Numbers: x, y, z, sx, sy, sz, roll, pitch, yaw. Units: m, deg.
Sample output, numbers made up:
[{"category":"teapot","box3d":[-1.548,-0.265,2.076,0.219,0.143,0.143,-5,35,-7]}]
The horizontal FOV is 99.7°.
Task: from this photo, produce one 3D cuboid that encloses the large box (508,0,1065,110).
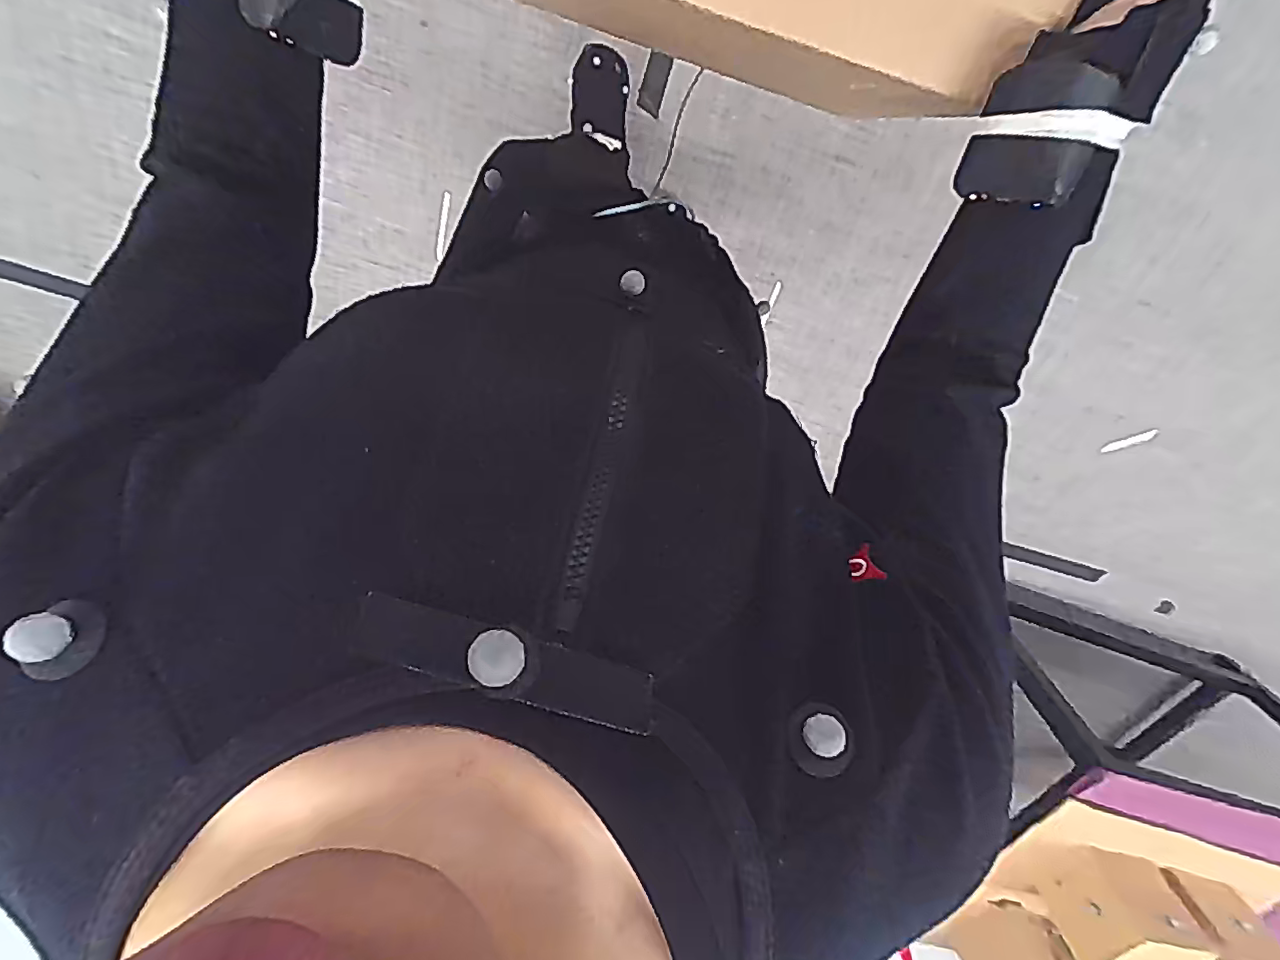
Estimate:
[{"category":"large box","box3d":[0.076,-0.478,0.351,0.408,0.320,0.320,13,124,-8]}]
